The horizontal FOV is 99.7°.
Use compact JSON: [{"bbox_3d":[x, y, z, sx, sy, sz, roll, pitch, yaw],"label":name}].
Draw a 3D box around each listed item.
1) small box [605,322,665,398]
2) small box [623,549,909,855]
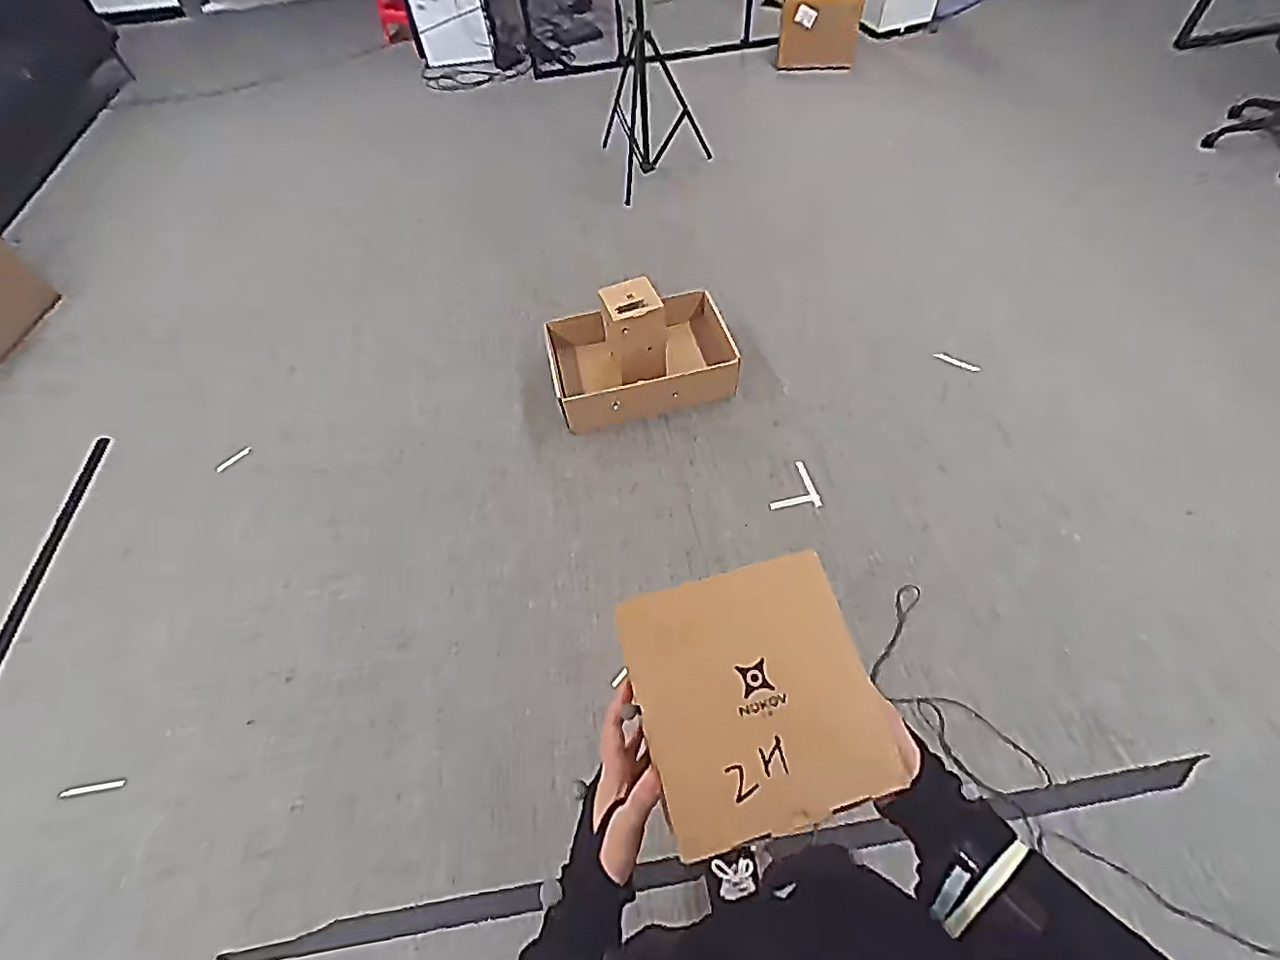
[{"bbox_3d":[-0.016,-0.419,1.898,0.168,0.176,0.179,-18,57,-7],"label":"small box"},{"bbox_3d":[0.083,0.181,0.465,0.168,0.176,0.179,-14,69,-7],"label":"small box"}]
